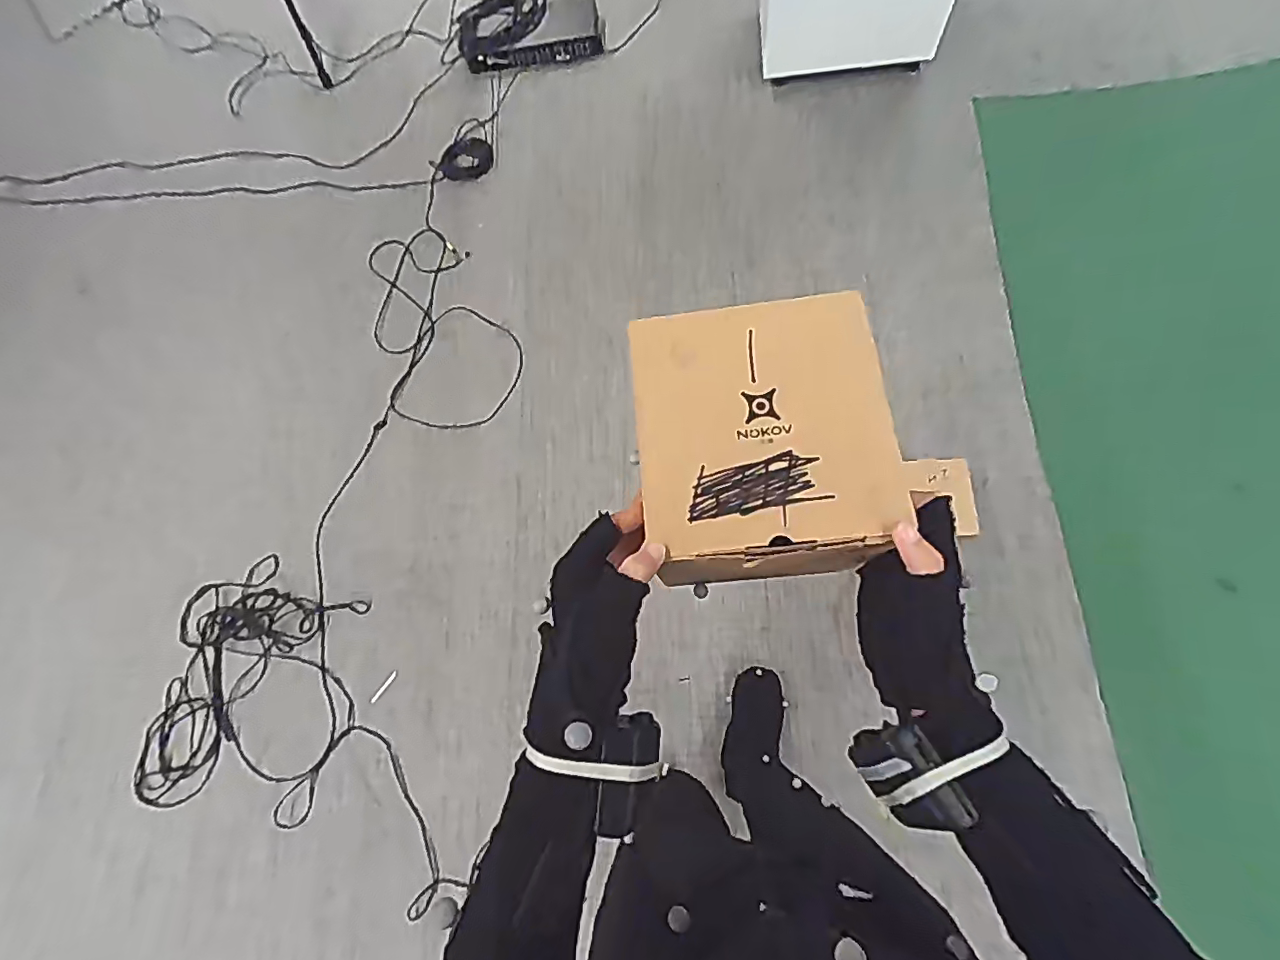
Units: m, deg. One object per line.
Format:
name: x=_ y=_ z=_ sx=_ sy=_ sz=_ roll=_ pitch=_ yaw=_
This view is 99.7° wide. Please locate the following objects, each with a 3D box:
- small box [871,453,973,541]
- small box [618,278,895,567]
small box: x=0.635 y=0.046 z=1.250 sx=0.168 sy=0.176 sz=0.179 roll=-2 pitch=74 yaw=6
small box: x=0.079 y=-0.028 z=0.433 sx=0.168 sy=0.176 sz=0.179 roll=-6 pitch=73 yaw=5
